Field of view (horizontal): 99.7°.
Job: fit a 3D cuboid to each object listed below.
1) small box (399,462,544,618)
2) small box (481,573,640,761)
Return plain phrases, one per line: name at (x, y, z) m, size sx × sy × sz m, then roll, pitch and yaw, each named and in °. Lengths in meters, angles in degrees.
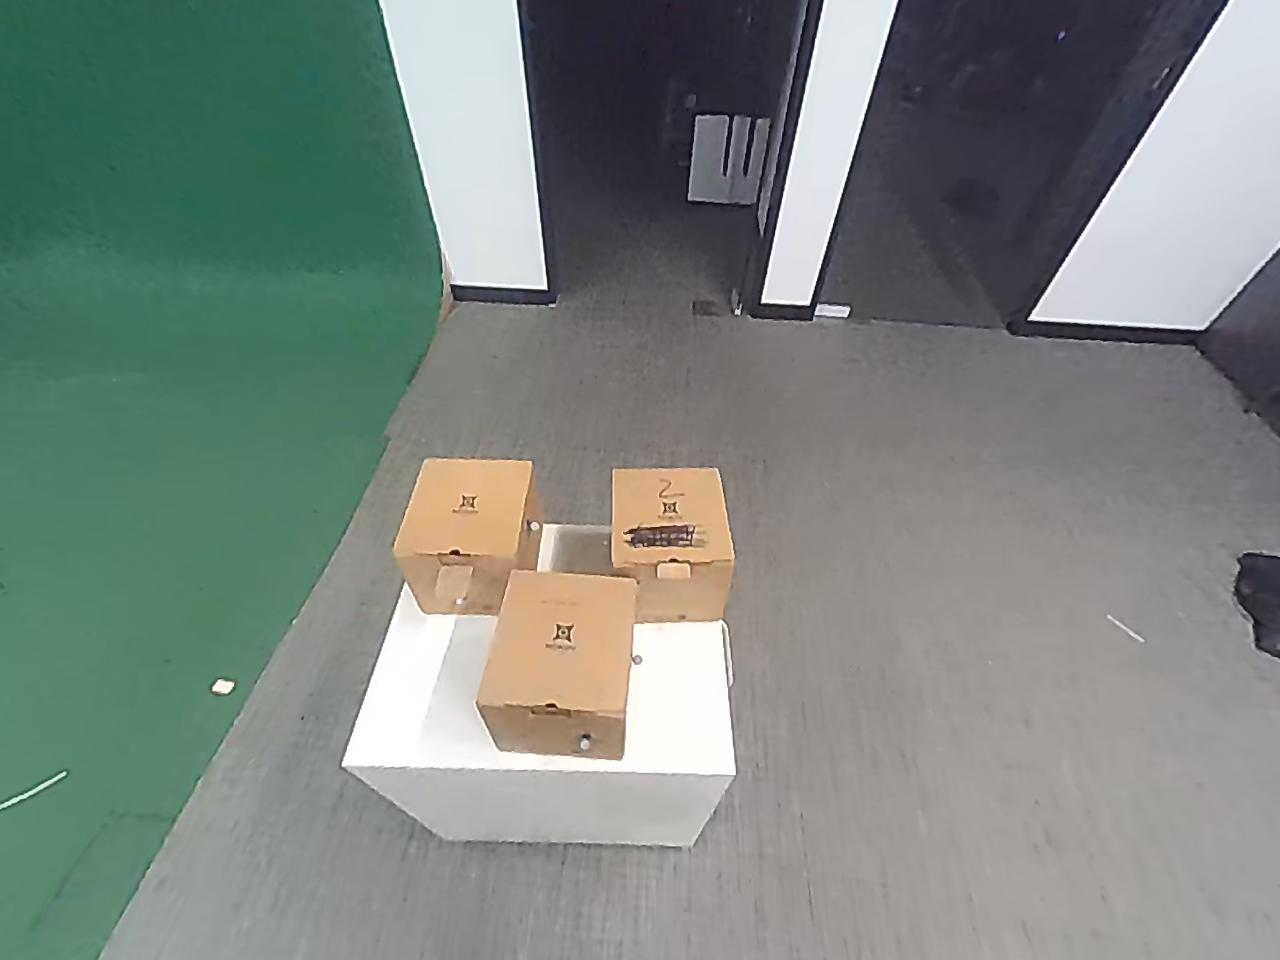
small box at (-0.243, 0.094, 0.832) m, size 0.168 × 0.176 × 0.179 m, roll 2°, pitch 49°, yaw -2°
small box at (-0.089, 0.245, 0.700) m, size 0.168 × 0.176 × 0.179 m, roll 5°, pitch 46°, yaw 2°
